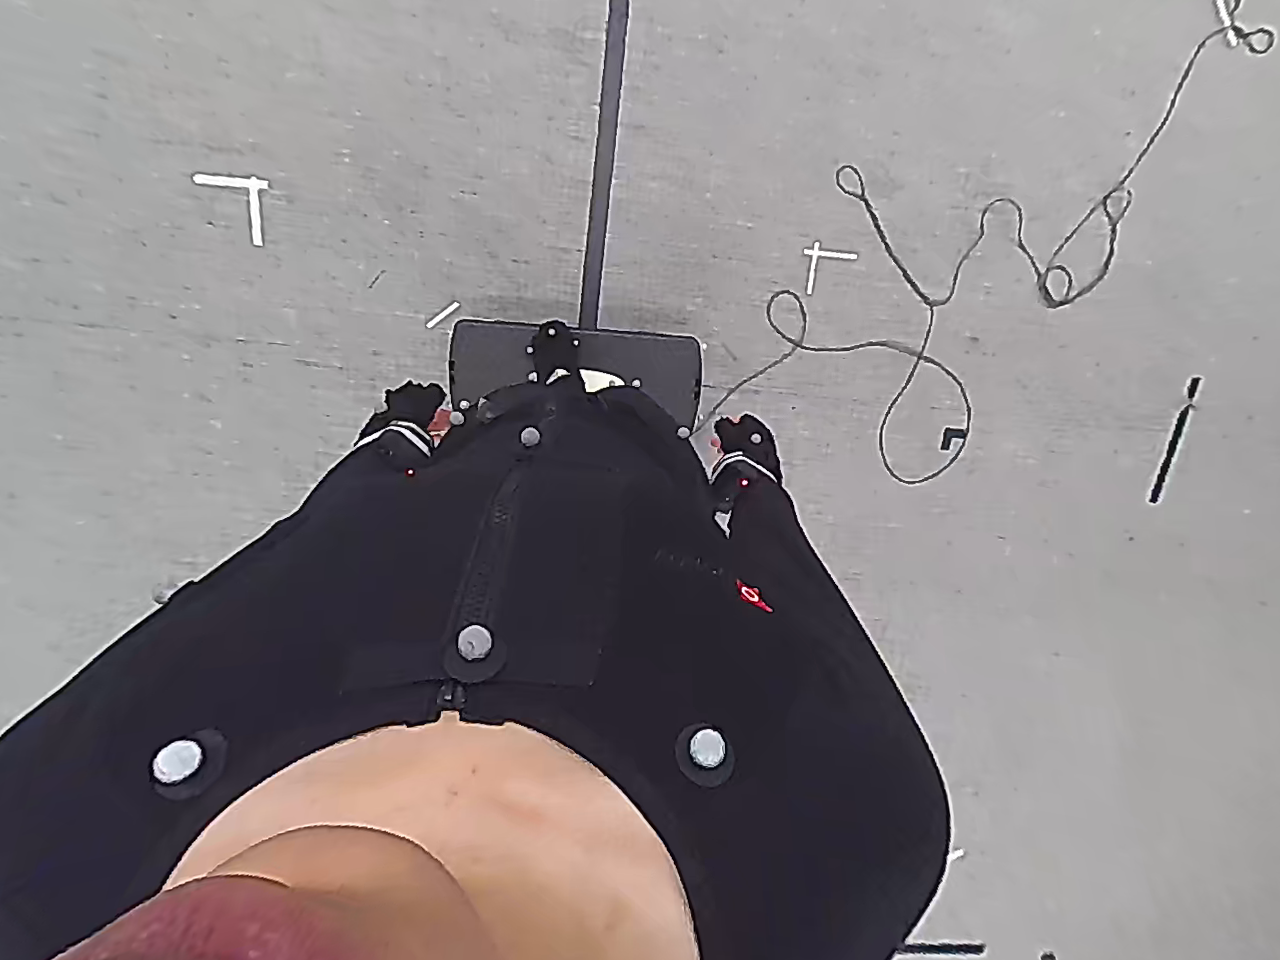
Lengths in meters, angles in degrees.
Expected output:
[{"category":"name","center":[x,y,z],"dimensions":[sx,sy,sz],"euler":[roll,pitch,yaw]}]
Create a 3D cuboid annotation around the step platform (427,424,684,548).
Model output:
[{"category":"step platform","center":[-0.221,0.016,1.485],"dimensions":[0.684,0.204,0.286],"euler":[4,102,-4]}]
